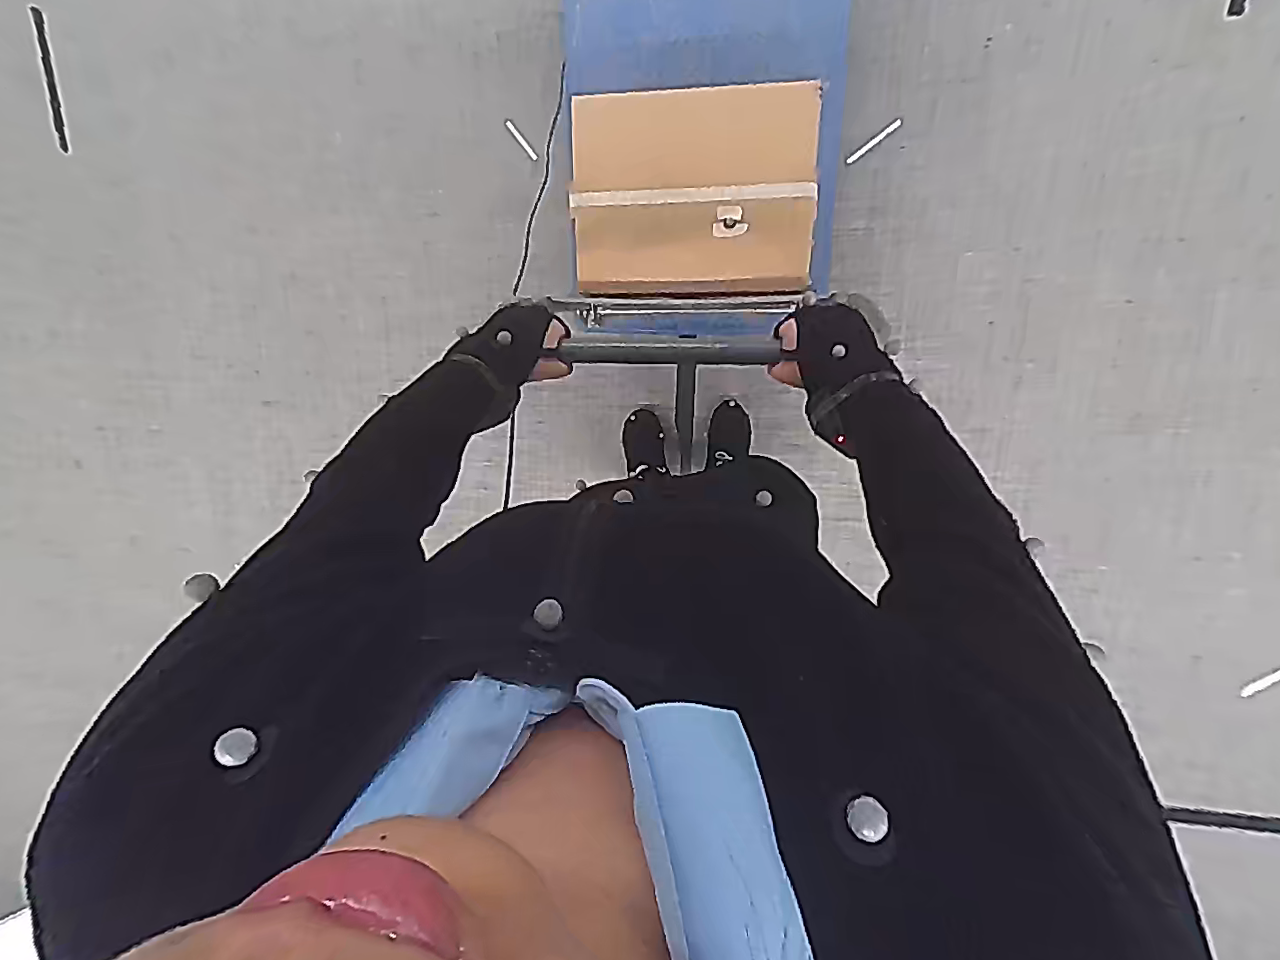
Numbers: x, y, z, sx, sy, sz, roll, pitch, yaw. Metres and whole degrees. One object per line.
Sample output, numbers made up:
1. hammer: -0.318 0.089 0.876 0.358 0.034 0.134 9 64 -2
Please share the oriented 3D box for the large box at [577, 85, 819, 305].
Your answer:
1. large box: 0.110 -0.522 1.068 0.408 0.320 0.320 1 106 7
